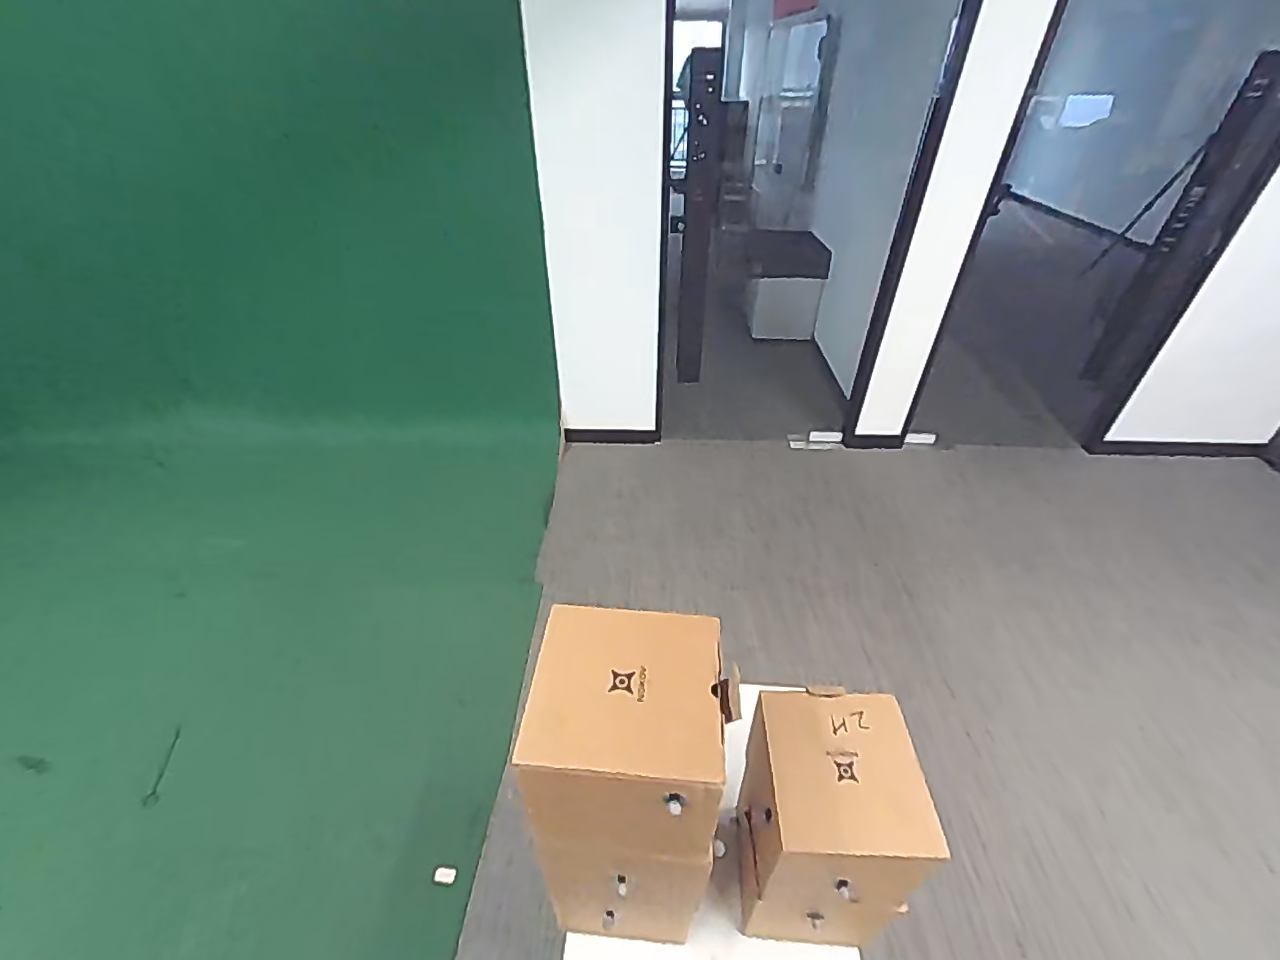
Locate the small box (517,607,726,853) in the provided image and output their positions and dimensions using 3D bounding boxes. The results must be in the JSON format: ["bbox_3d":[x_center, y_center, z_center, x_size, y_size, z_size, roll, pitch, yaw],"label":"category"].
[{"bbox_3d":[-0.012,0.252,0.550,0.179,0.176,0.168,4,37,2],"label":"small box"}]

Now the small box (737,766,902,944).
[{"bbox_3d":[0.230,0.515,0.750,0.179,0.176,0.168,3,39,4],"label":"small box"}]

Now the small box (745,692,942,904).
[{"bbox_3d":[0.225,0.382,0.652,0.168,0.176,0.179,1,38,2],"label":"small box"}]

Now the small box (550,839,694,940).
[{"bbox_3d":[-0.017,0.510,0.751,0.179,0.176,0.168,4,39,3],"label":"small box"}]
